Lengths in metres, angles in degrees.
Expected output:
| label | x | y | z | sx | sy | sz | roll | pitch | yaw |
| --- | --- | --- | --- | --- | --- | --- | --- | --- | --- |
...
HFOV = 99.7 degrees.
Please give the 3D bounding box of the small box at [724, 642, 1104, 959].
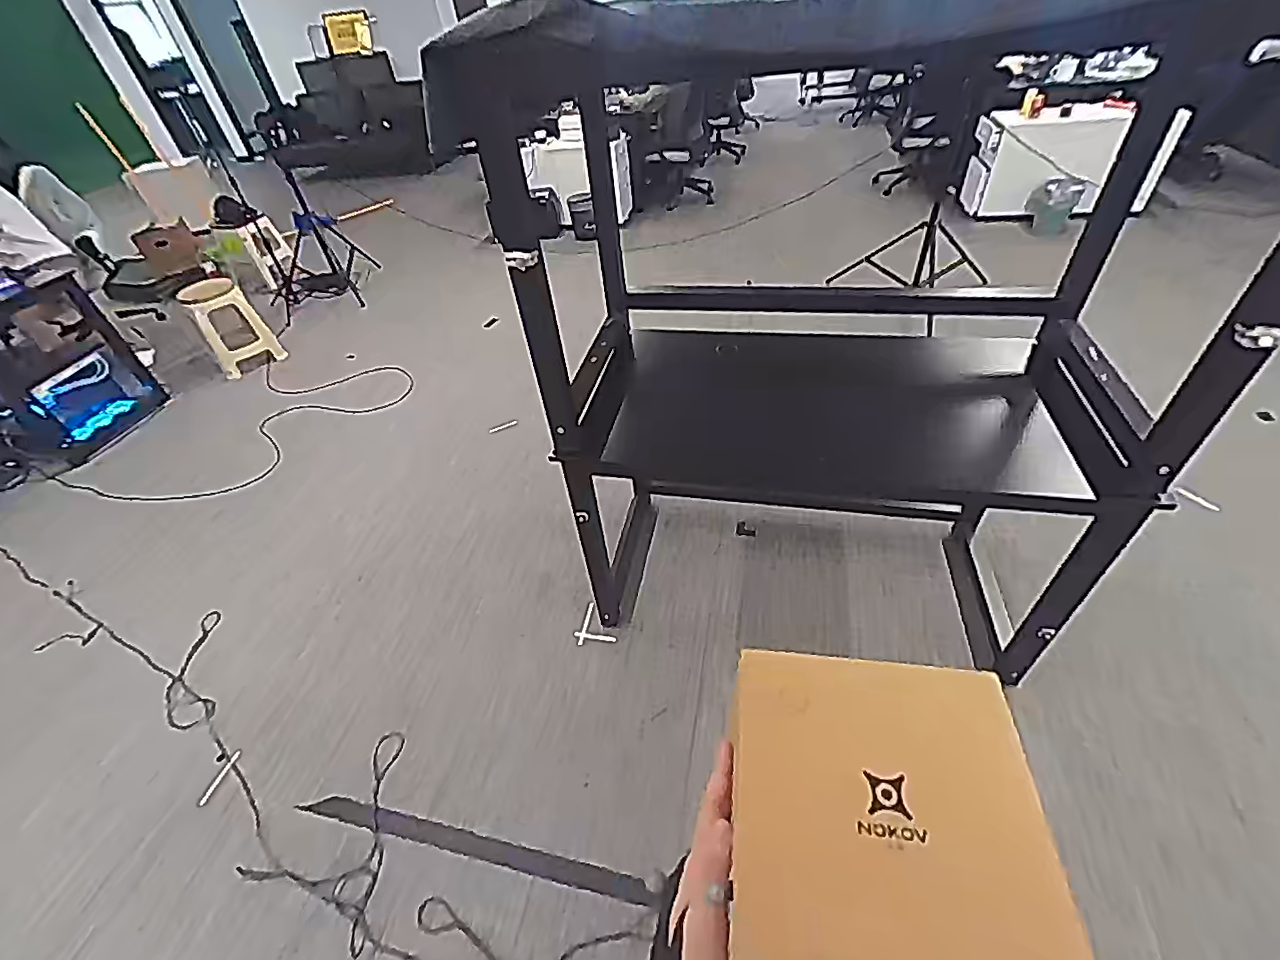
| label | x | y | z | sx | sy | sz | roll | pitch | yaw |
| --- | --- | --- | --- | --- | --- | --- | --- | --- | --- |
| small box | 0.143 | 0.233 | 0.353 | 0.168 | 0.176 | 0.179 | 3 | 44 | 8 |
